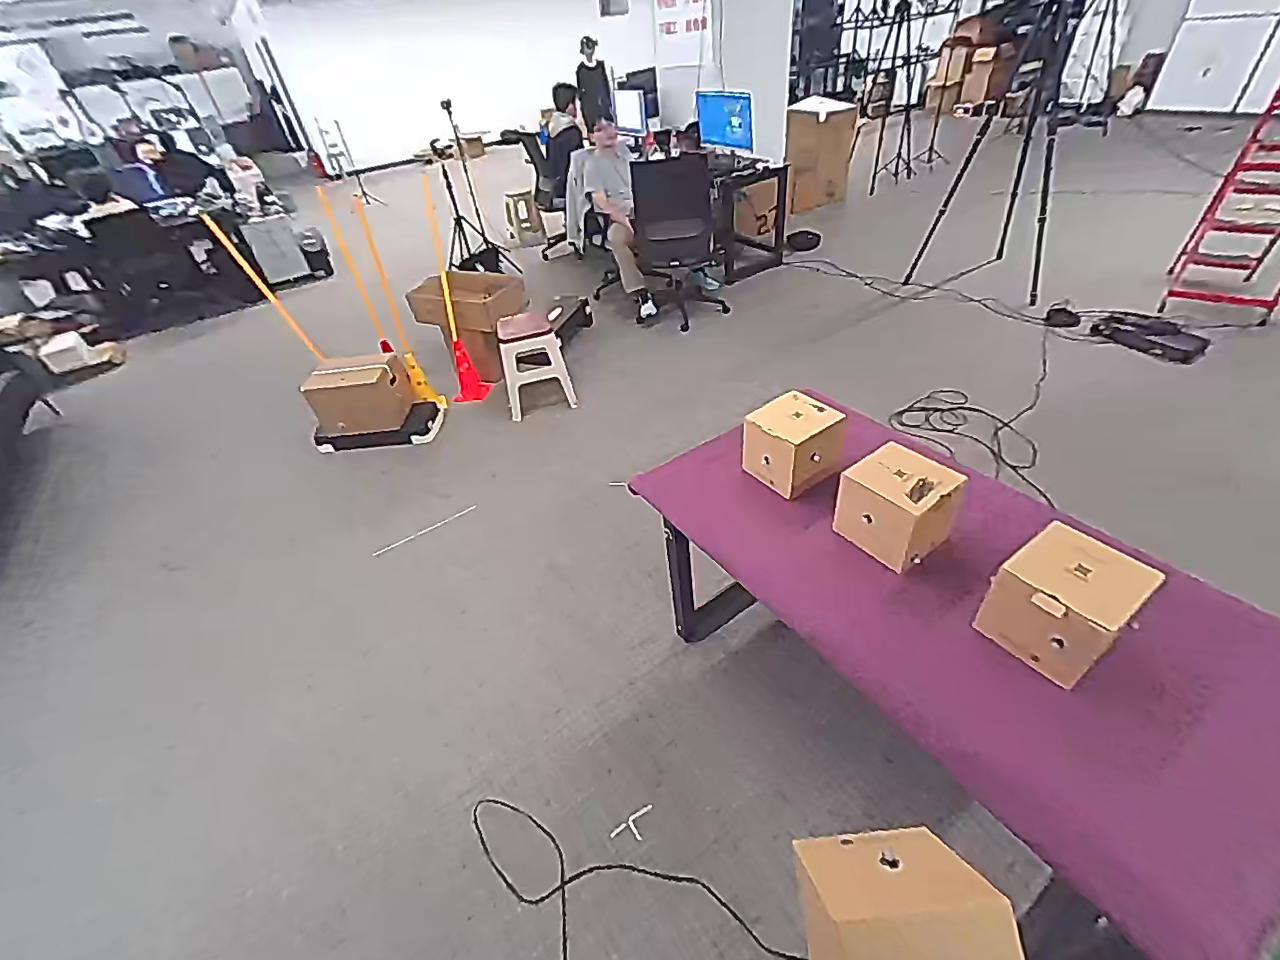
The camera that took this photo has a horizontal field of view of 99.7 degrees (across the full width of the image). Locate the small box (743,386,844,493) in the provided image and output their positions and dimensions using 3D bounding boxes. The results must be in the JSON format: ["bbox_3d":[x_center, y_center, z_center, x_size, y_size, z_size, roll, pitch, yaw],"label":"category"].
[{"bbox_3d":[0.372,-0.097,1.324,0.179,0.176,0.168,-29,45,-22],"label":"small box"}]

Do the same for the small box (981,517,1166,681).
[{"bbox_3d":[0.715,0.202,0.915,0.179,0.176,0.168,-28,44,-22],"label":"small box"}]

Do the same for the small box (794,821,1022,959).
[{"bbox_3d":[0.270,0.481,0.563,0.168,0.176,0.179,-7,78,1],"label":"small box"}]

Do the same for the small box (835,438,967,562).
[{"bbox_3d":[0.534,0.046,1.129,0.168,0.176,0.179,-29,43,-22],"label":"small box"}]
